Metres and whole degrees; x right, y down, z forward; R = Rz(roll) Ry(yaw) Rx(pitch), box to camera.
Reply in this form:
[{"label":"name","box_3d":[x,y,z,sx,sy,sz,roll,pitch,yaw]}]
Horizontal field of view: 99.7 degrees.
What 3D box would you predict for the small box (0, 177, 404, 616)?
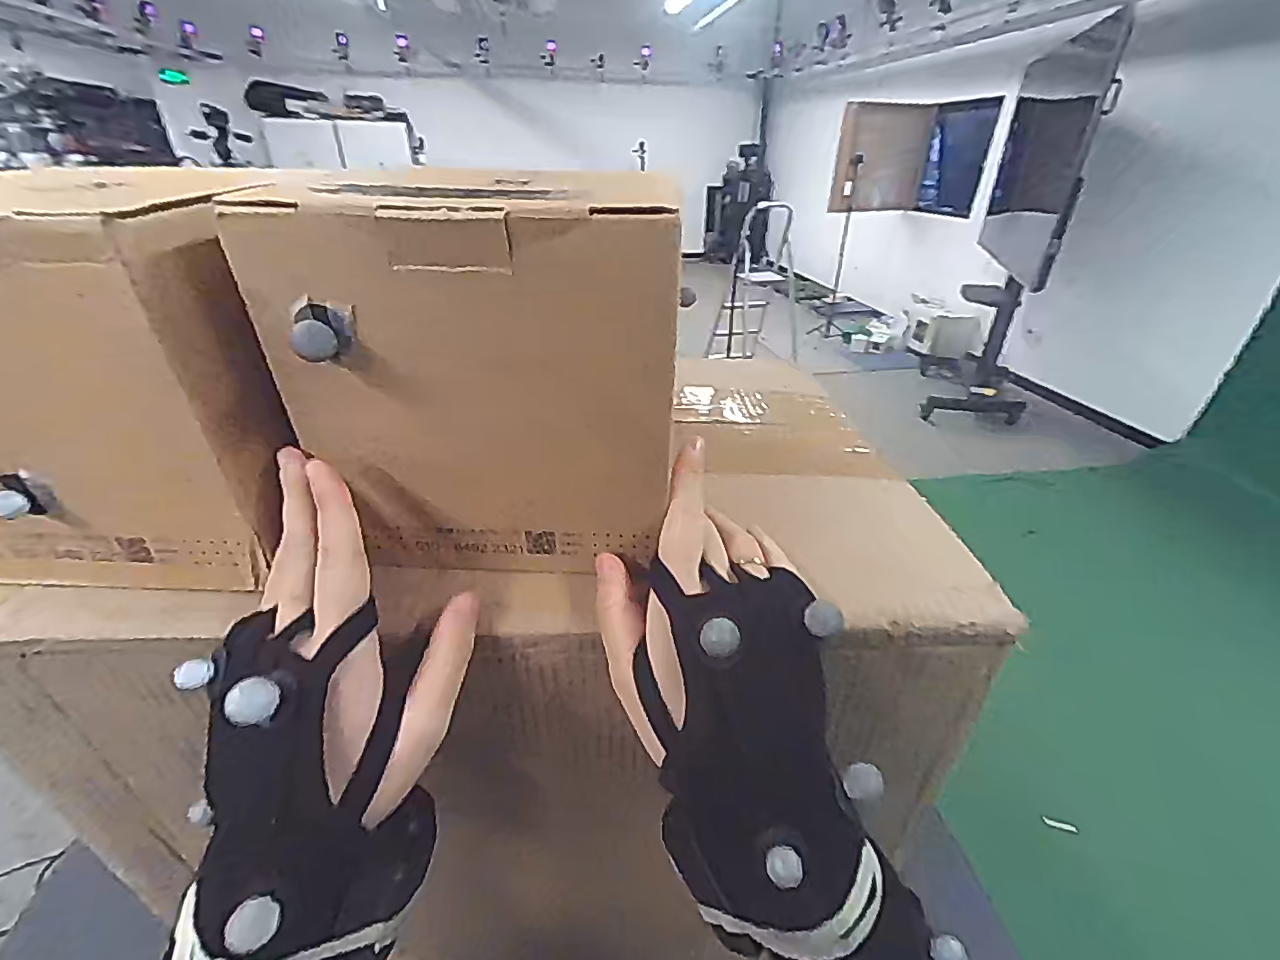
[{"label":"small box","box_3d":[-0.245,-0.054,0.286,0.168,0.176,0.179,2,35,1]}]
